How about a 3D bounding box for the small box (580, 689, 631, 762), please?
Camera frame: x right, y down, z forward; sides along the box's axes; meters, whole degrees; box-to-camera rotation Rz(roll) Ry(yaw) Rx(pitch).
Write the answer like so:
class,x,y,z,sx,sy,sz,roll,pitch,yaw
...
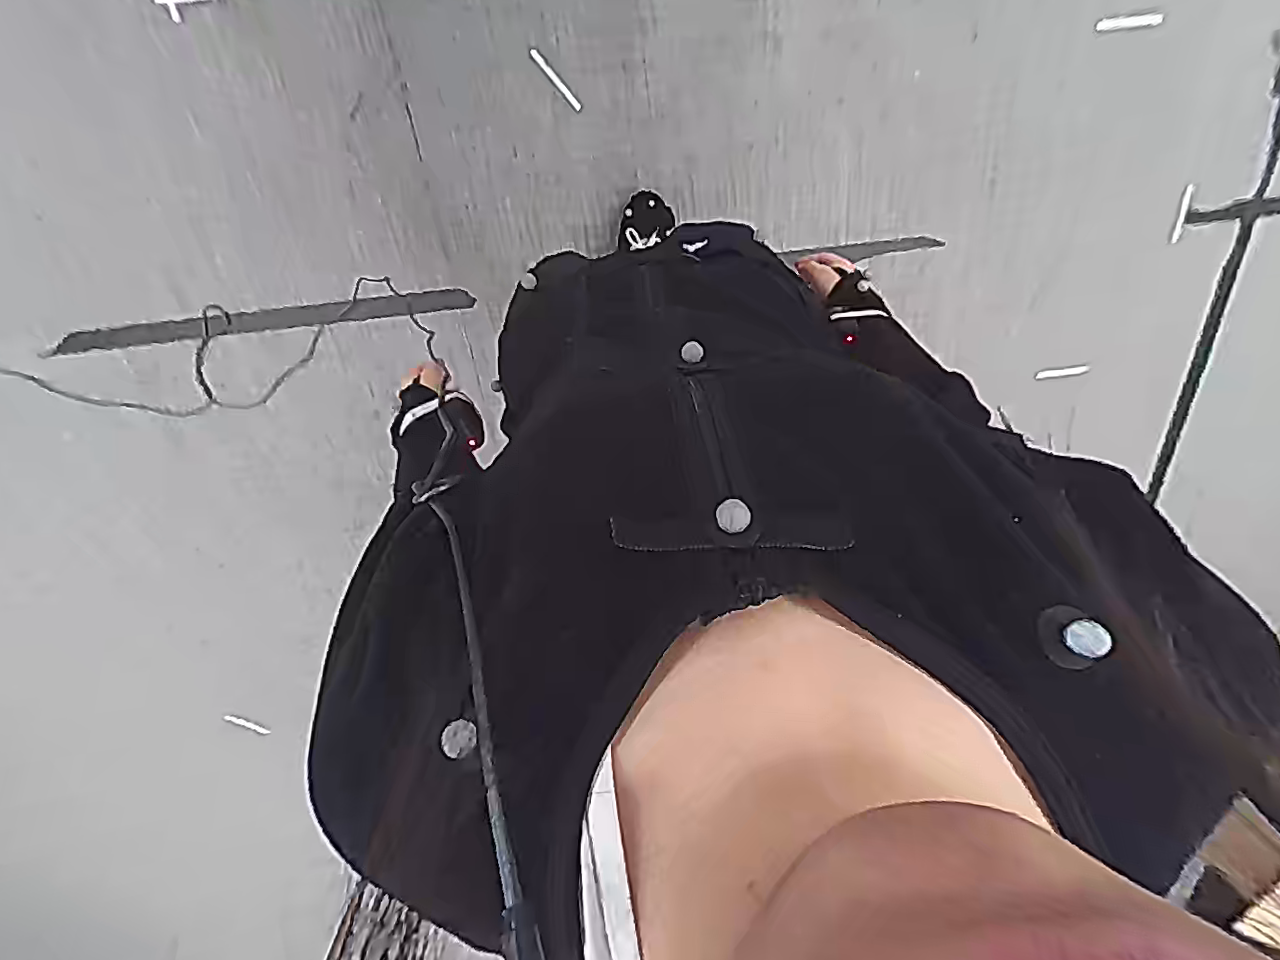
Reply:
class,x,y,z,sx,sy,sz,roll,pitch,yaw
small box,-0.123,0.858,1.907,0.168,0.176,0.179,-5,117,-2
